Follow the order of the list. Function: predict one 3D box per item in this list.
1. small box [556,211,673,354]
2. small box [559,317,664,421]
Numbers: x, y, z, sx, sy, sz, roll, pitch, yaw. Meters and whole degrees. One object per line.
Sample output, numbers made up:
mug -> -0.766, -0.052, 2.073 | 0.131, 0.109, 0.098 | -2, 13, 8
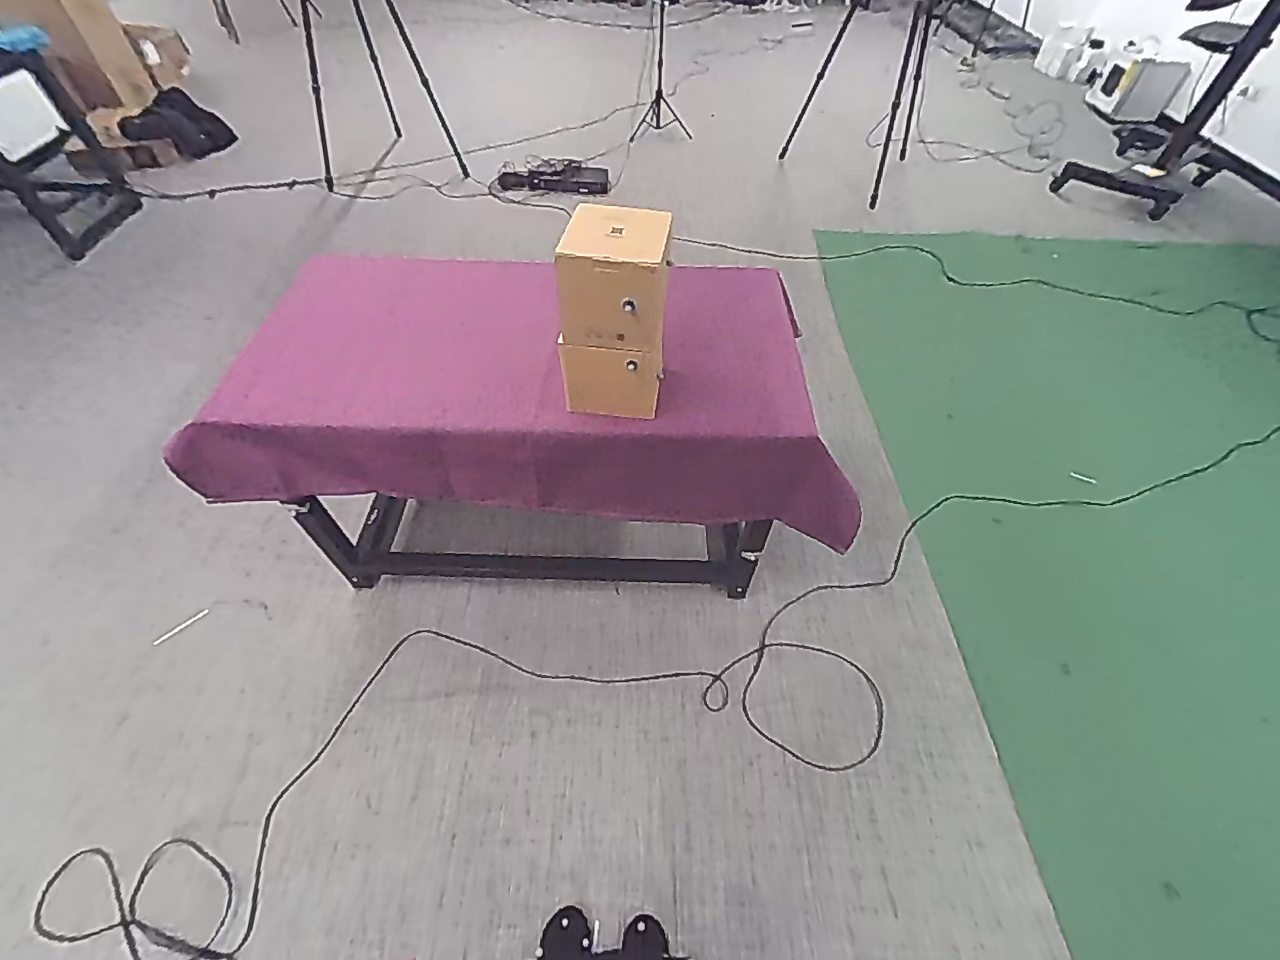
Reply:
small box -> -0.038, -0.342, 0.944 | 0.168, 0.176, 0.179 | 9, 50, 4
small box -> -0.050, -0.235, 1.067 | 0.179, 0.176, 0.168 | 7, 50, 4
